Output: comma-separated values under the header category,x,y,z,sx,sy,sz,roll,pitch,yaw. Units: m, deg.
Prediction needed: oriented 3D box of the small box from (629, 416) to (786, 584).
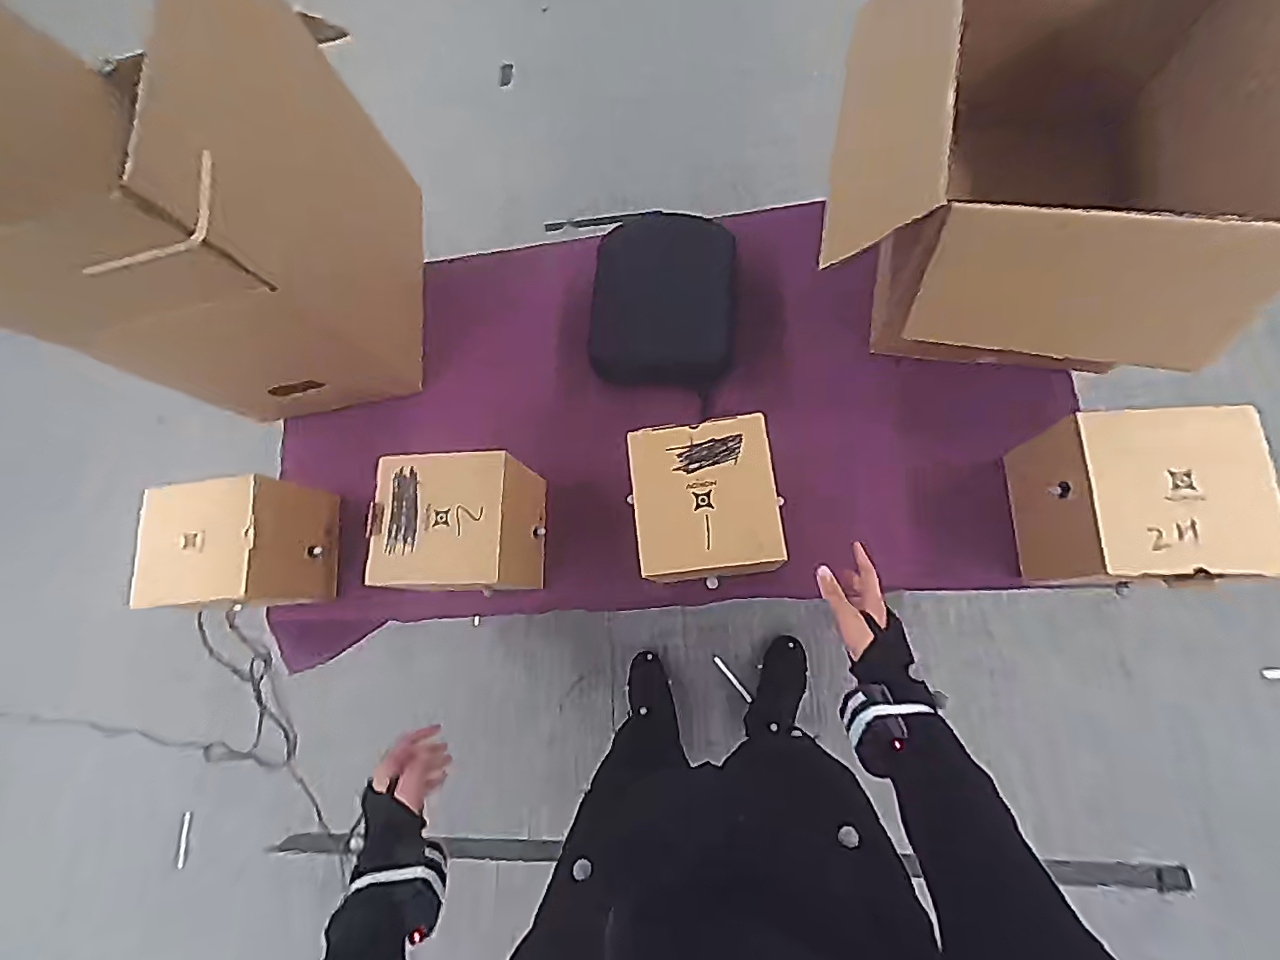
category,x,y,z,sx,sy,sz,roll,pitch,yaw
small box,0.085,0.036,0.700,0.168,0.176,0.179,-8,76,8

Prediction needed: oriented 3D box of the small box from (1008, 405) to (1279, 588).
category,x,y,z,sx,sy,sz,roll,pitch,yaw
small box,0.555,0.028,0.619,0.168,0.176,0.179,-2,76,10

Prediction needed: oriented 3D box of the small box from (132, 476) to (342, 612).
category,x,y,z,sx,sy,sz,roll,pitch,yaw
small box,-0.578,0.103,0.798,0.179,0.176,0.168,-8,75,6
